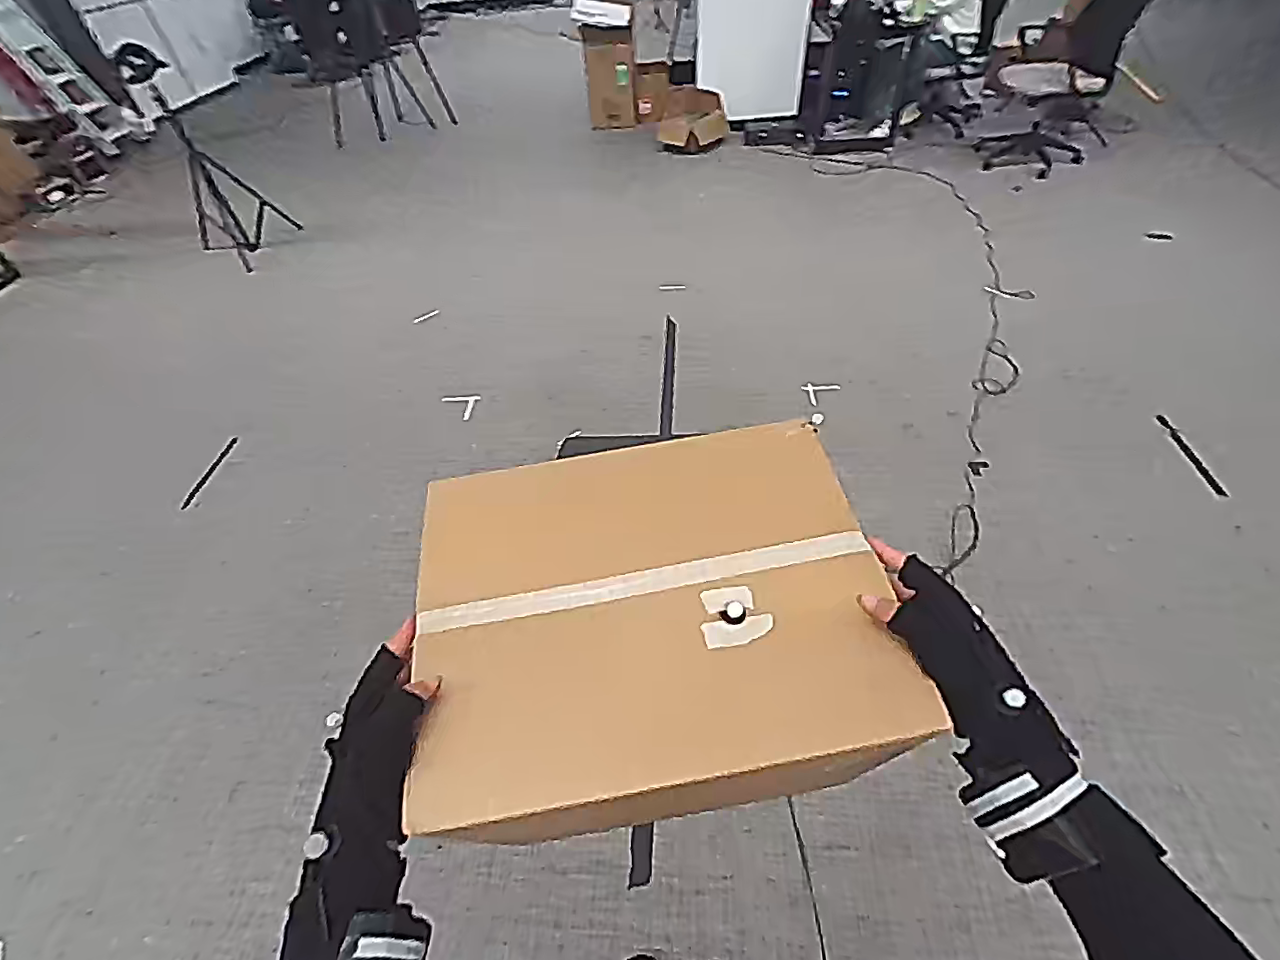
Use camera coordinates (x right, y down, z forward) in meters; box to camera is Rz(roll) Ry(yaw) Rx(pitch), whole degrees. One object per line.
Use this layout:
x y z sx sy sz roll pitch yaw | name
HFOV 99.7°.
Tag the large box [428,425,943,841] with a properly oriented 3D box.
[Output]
0.022 0.180 0.608 0.408 0.320 0.320 -9 55 -2 | large box
